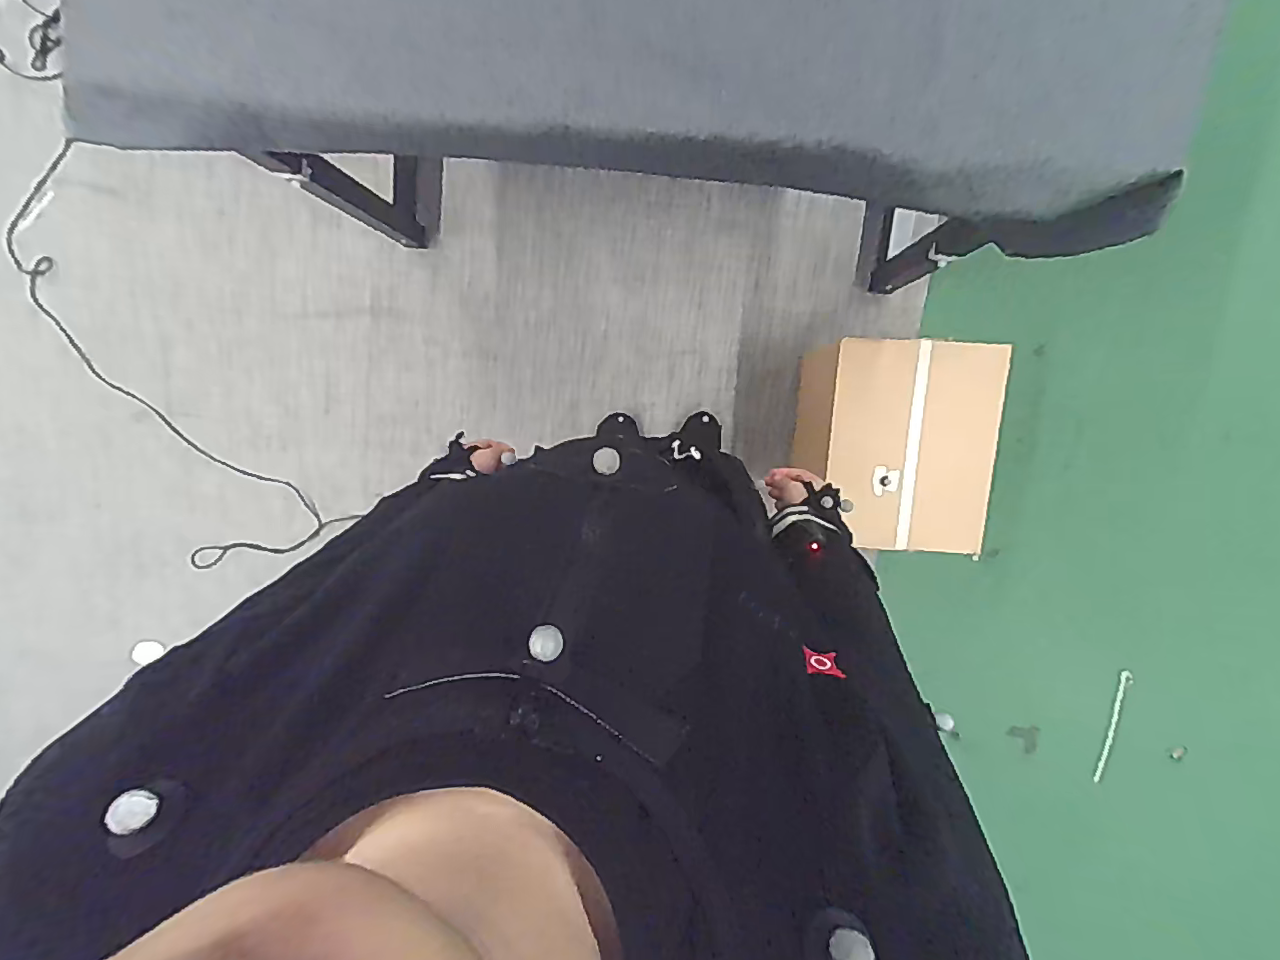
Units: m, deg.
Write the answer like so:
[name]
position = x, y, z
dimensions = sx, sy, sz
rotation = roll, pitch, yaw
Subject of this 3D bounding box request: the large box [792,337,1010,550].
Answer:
[large box]
position = 0.529, -0.090, 1.173
dimensions = 0.320, 0.320, 0.408
rotation = 3, 99, 4
